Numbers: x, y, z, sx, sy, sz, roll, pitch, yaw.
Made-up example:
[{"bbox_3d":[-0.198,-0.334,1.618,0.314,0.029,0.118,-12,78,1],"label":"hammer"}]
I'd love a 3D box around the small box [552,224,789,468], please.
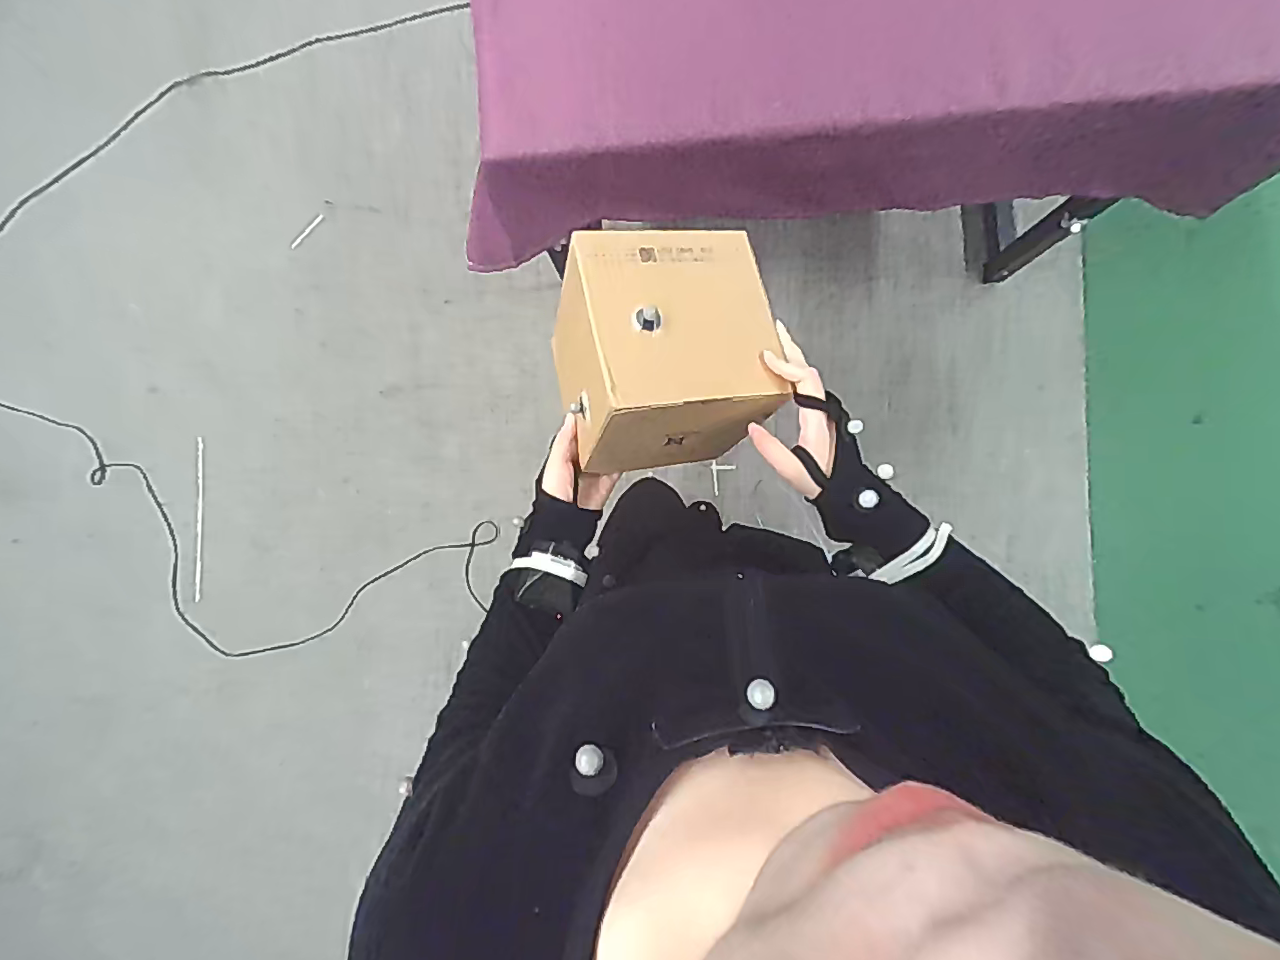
[{"bbox_3d":[0.013,-0.126,0.531,0.168,0.179,0.176,-7,76,-17],"label":"small box"}]
